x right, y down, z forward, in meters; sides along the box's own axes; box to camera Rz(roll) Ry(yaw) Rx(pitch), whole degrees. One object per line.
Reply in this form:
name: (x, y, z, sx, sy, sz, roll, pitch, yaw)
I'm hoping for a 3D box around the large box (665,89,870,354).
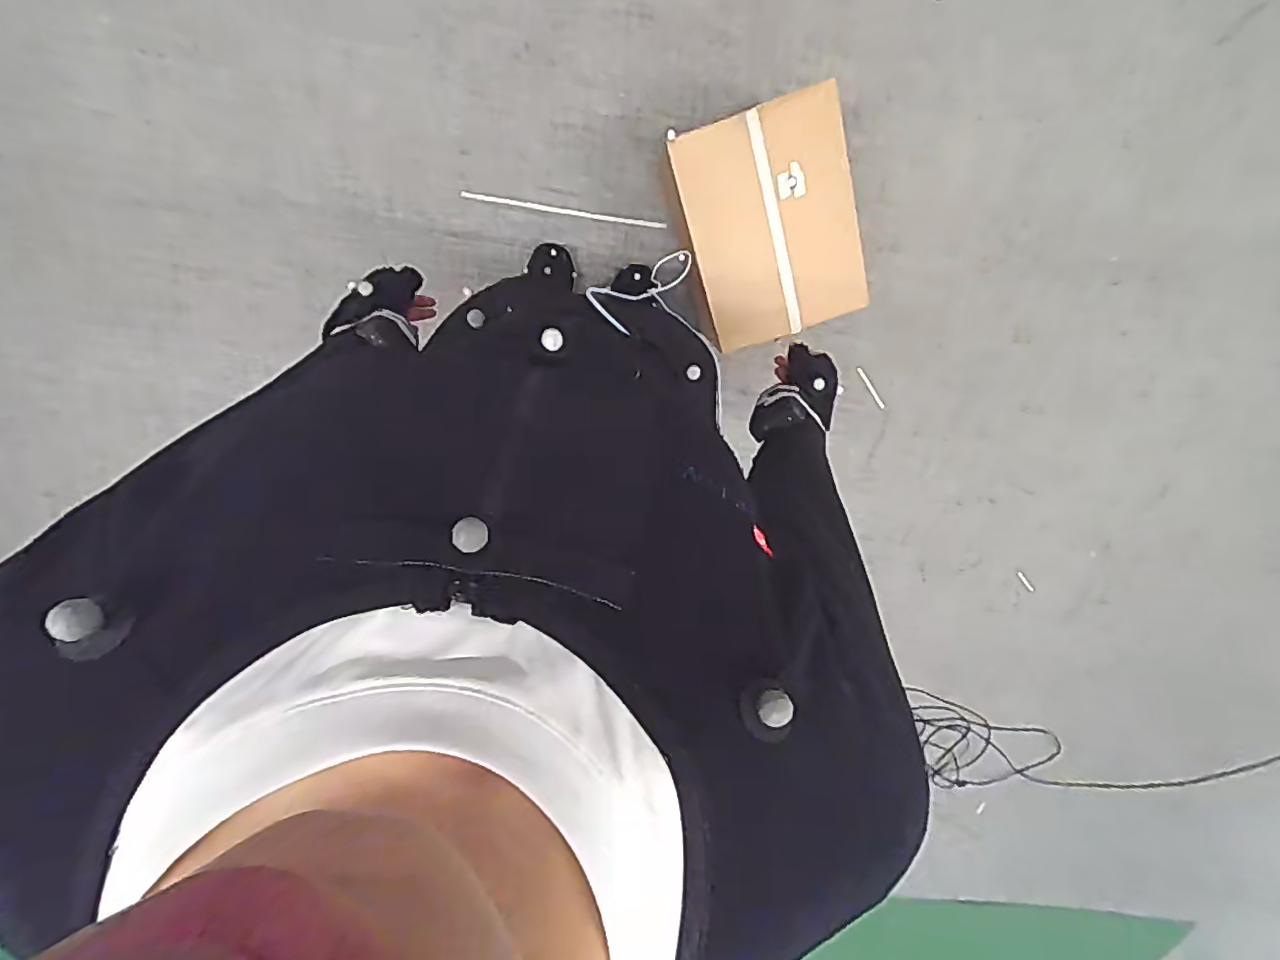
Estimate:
large box: (0.263, -0.536, 1.184, 0.320, 0.320, 0.408, -17, 112, 5)
